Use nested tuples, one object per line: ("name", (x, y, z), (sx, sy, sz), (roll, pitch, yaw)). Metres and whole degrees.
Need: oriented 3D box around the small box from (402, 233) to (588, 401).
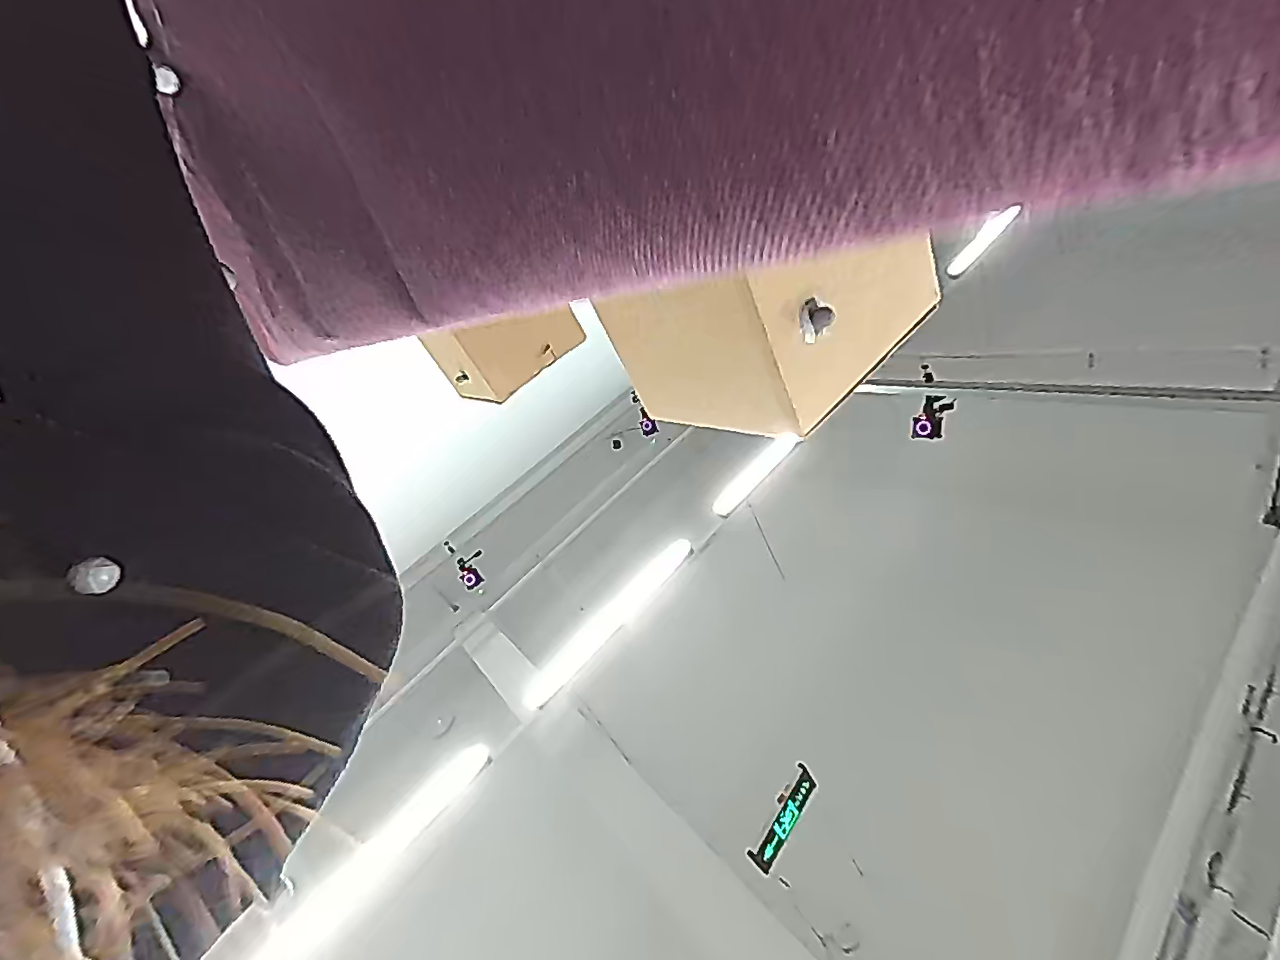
("small box", (-0.214, -0.233, 0.783), (0.168, 0.176, 0.179), (-43, -148, -21))
